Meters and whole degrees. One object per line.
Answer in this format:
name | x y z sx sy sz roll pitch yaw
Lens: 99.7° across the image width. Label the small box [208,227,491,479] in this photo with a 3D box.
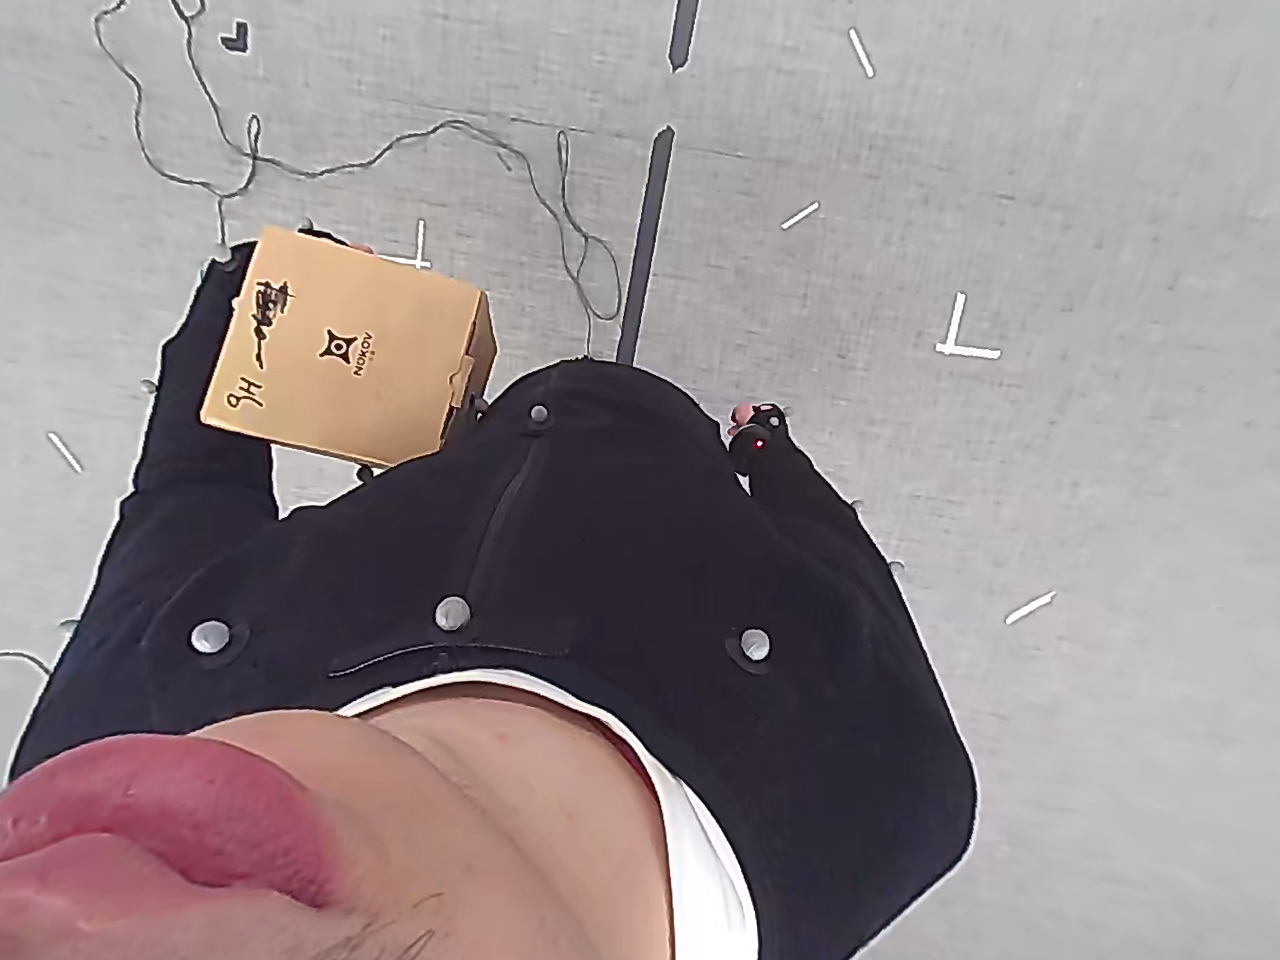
small box | -0.249 -0.100 0.518 0.179 0.176 0.168 14 83 -11
